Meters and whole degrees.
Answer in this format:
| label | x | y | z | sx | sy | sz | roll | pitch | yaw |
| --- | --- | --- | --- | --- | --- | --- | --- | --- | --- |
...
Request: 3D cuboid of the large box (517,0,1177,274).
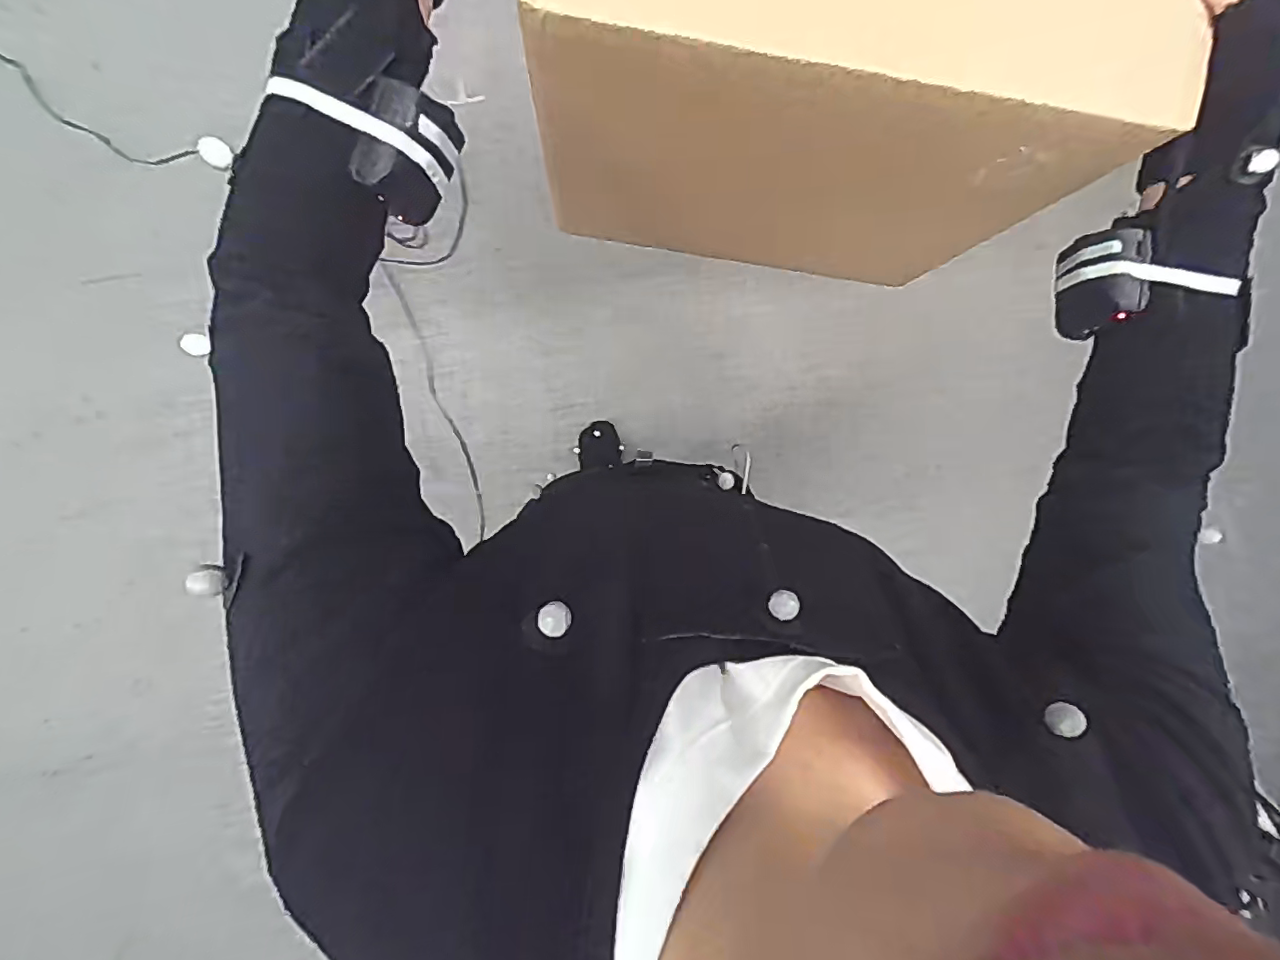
| label | x | y | z | sx | sy | sz | roll | pitch | yaw |
| --- | --- | --- | --- | --- | --- | --- | --- | --- | --- |
| large box | 0.125 | -0.398 | 0.461 | 0.408 | 0.320 | 0.320 | 6 | 93 | -5 |
